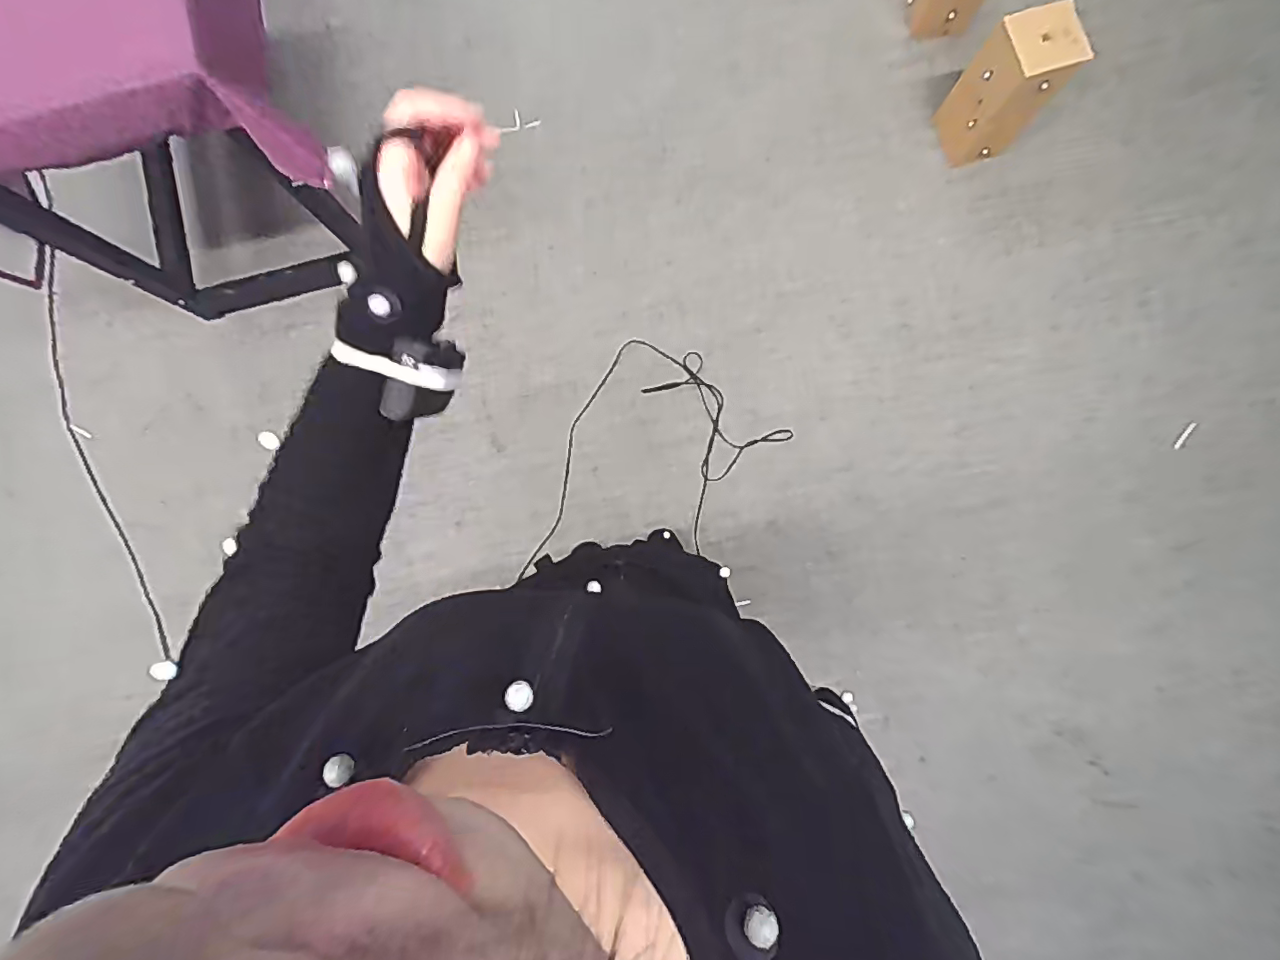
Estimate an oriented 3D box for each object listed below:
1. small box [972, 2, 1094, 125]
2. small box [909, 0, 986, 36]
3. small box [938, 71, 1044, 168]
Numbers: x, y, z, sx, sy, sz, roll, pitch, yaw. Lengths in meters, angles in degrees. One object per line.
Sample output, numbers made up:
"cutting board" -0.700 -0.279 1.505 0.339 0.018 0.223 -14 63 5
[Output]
"small box" 0.984 -1.048 1.377 0.179 0.176 0.168 -16 86 -1
"small box" 0.910 -1.442 1.580 0.168 0.176 0.179 -4 85 0
"small box" 0.990 -1.038 1.542 0.168 0.176 0.179 -16 85 0
